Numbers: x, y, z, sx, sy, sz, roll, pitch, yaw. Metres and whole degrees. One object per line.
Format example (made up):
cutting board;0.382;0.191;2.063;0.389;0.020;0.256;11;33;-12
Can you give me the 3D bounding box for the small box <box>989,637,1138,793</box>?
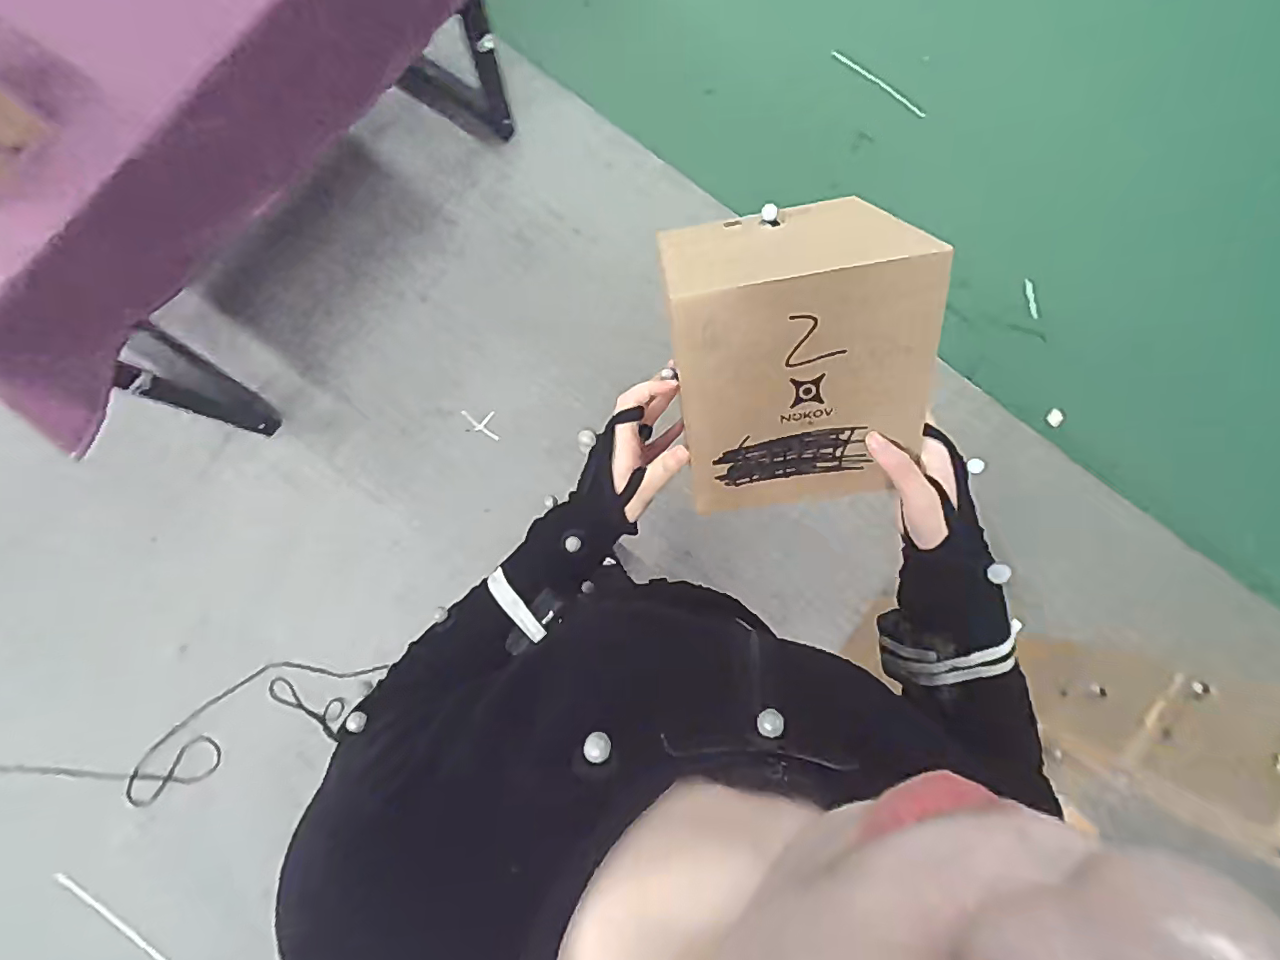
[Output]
small box;0.776;0.399;0.960;0.179;0.176;0.168;39;85;4
